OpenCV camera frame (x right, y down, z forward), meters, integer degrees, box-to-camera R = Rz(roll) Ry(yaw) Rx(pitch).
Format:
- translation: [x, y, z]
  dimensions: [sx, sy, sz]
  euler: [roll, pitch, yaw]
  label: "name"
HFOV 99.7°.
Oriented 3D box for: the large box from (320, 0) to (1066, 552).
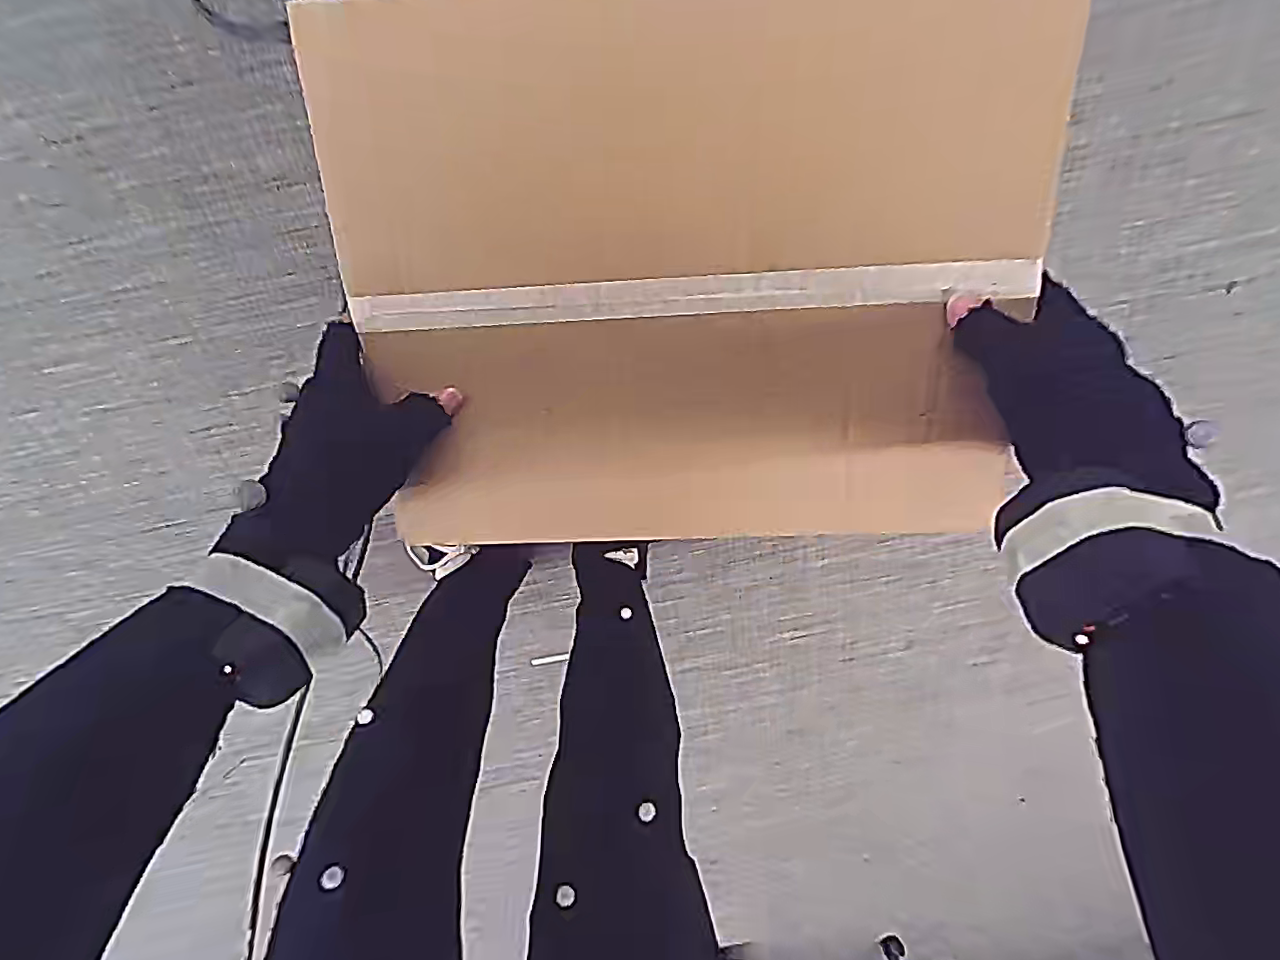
- translation: [0.034, -0.151, 0.473]
  dimensions: [0.408, 0.320, 0.320]
  euler: [-2, 110, 3]
  label: "large box"
